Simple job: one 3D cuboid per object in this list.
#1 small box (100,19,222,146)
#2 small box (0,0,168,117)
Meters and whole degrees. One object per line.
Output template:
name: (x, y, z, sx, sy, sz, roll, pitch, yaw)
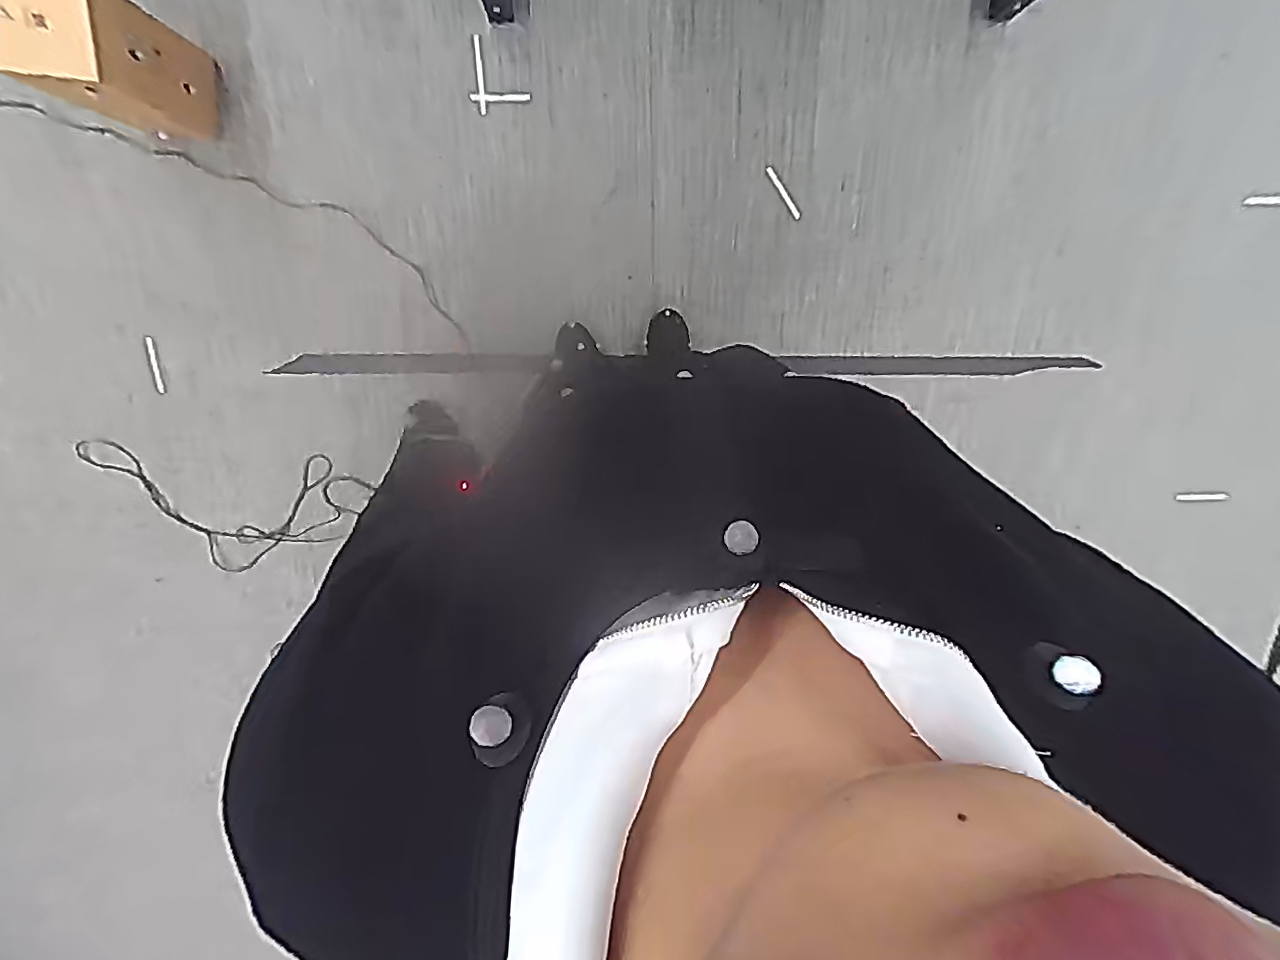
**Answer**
small box: (-1.022, -0.835, 1.134, 0.168, 0.176, 0.179, 7, 106, -5)
small box: (-1.003, -0.785, 0.978, 0.179, 0.176, 0.168, 4, 105, -4)
